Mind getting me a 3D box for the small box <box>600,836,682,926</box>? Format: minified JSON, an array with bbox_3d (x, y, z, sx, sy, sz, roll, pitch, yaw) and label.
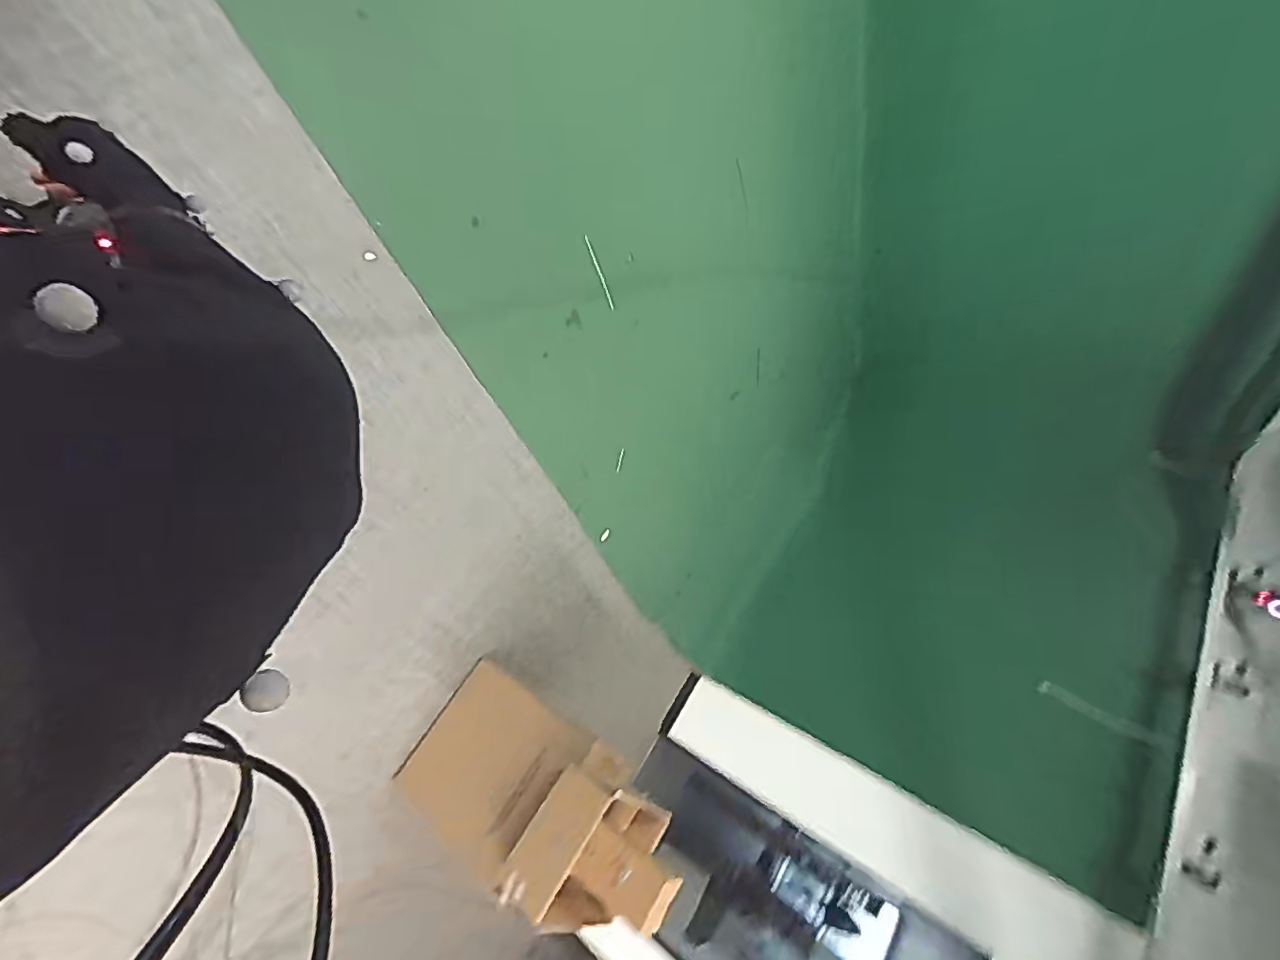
[{"bbox_3d":[0.004,1.267,1.718,0.168,0.176,0.179,-57,144,-20],"label":"small box"}]
